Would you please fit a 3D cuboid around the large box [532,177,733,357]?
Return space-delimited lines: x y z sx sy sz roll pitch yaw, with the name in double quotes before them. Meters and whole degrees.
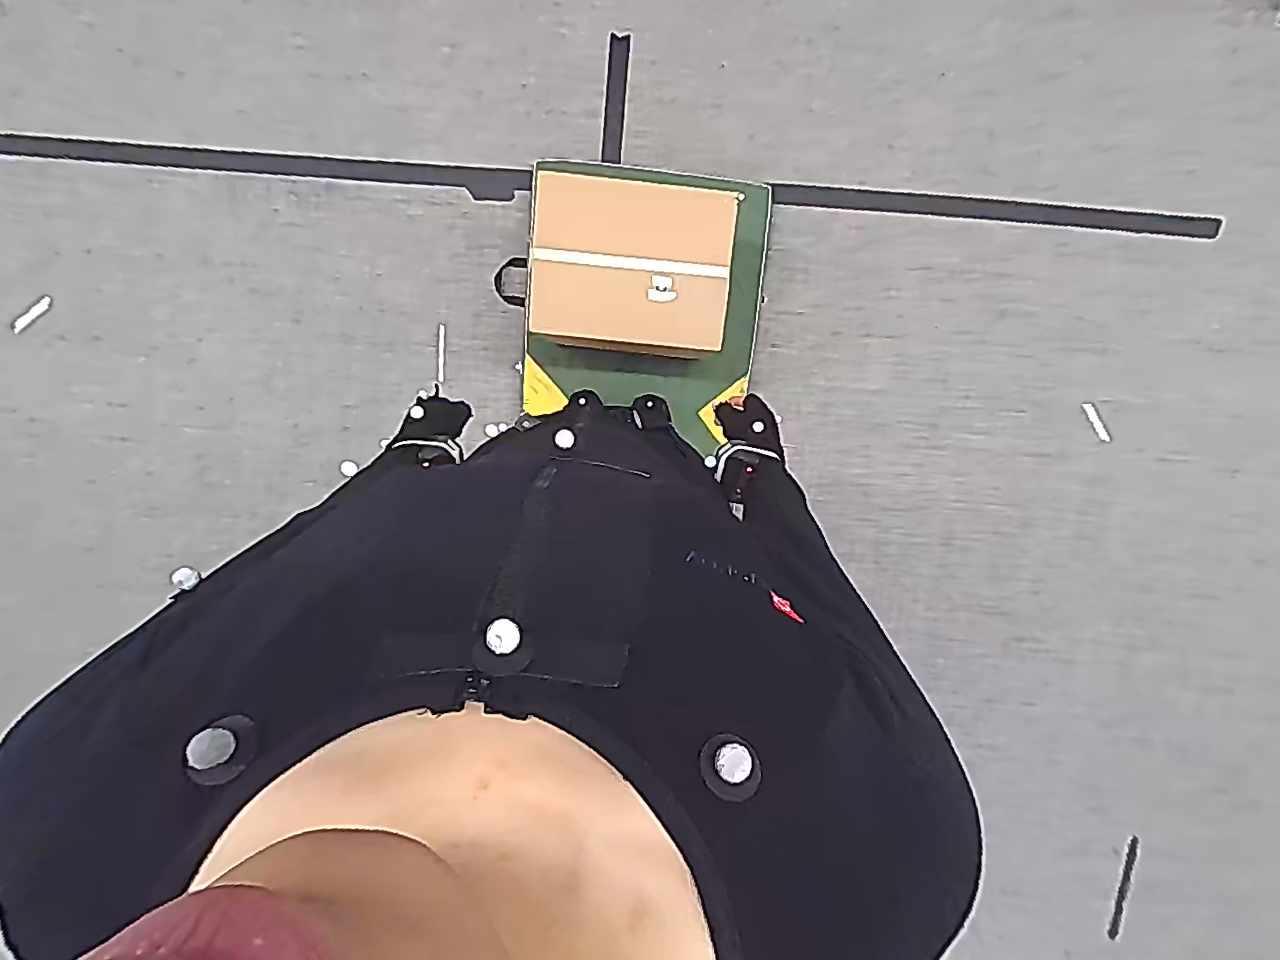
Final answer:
"large box" -0.025 -0.467 1.260 0.408 0.320 0.320 5 100 -3
